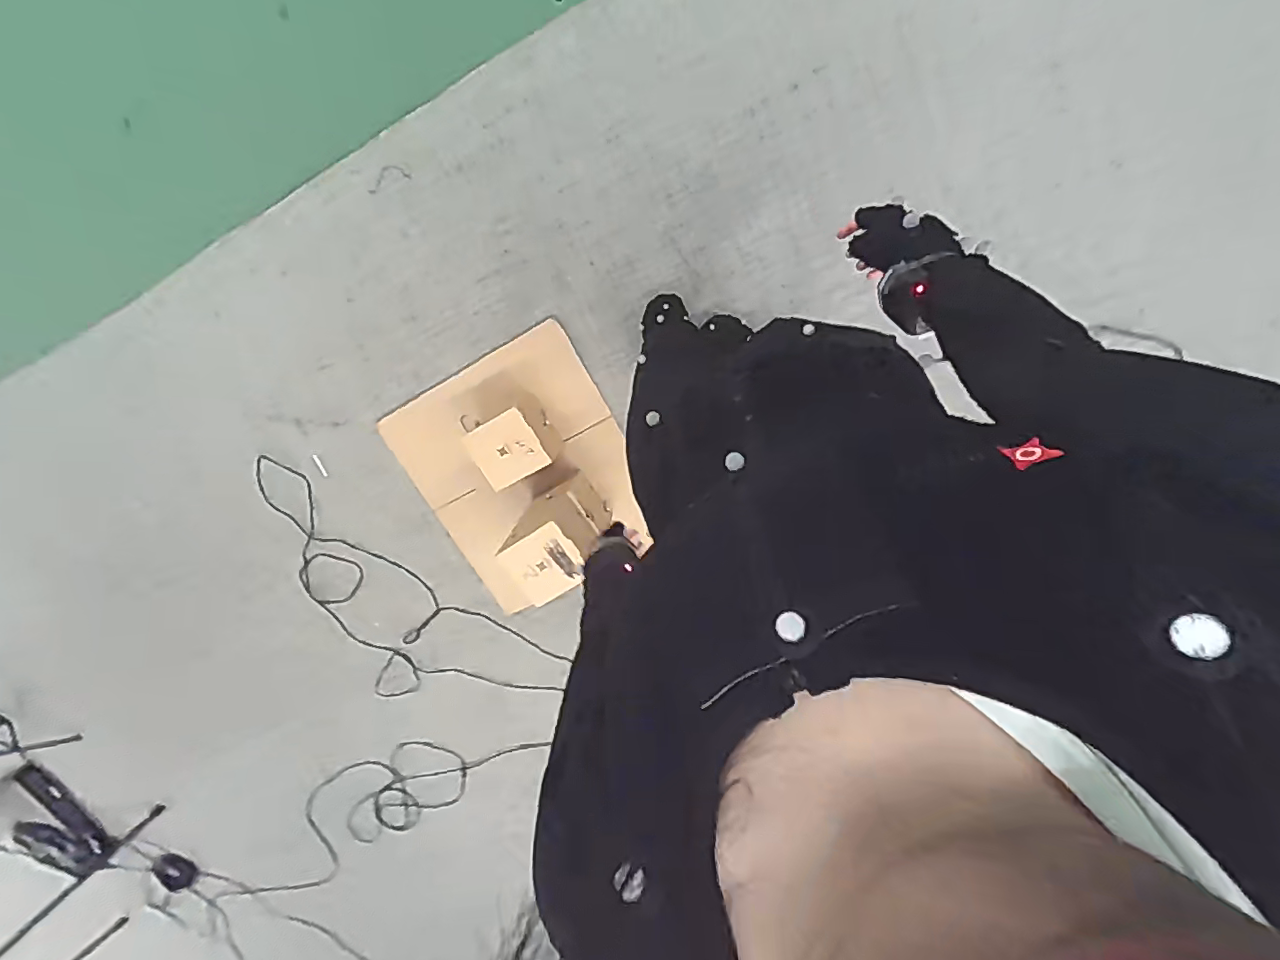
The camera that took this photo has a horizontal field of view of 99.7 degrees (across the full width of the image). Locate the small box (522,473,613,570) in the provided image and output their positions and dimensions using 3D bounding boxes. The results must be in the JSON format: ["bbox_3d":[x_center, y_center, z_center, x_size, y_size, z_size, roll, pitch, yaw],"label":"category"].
[{"bbox_3d":[-0.187,0.106,1.470,0.179,0.176,0.168,-31,104,14],"label":"small box"}]

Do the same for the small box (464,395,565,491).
[{"bbox_3d":[-0.317,-0.100,1.411,0.179,0.176,0.168,-27,107,12],"label":"small box"}]
